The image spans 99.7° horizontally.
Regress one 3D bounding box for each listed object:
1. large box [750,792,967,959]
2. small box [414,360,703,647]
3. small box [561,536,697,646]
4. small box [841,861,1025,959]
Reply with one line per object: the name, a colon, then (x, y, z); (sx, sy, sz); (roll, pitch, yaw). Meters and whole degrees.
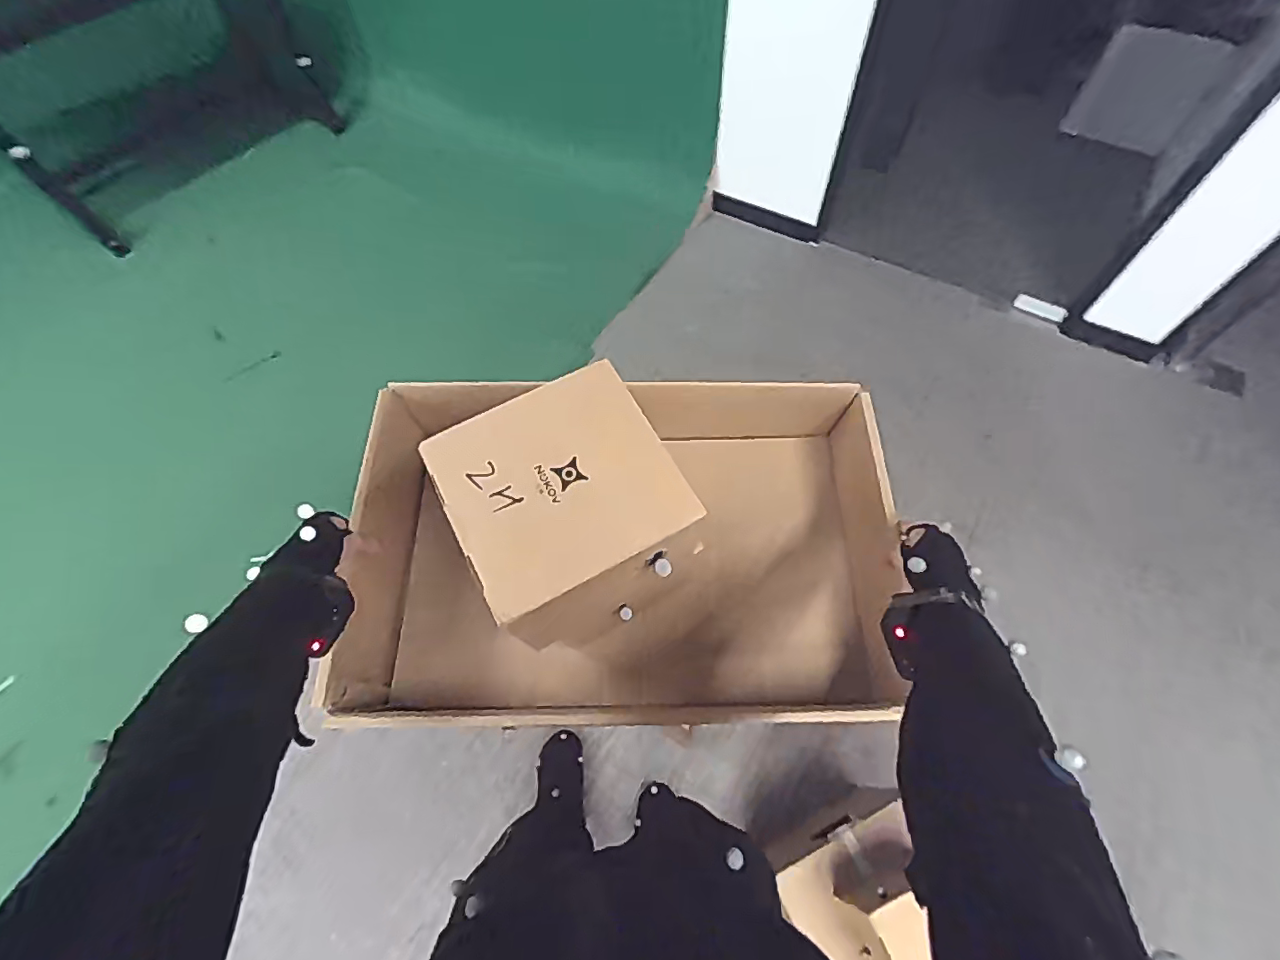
large box: (0.456, 0.856, 0.994); (0.320, 0.320, 0.408); (-24, 63, -10)
small box: (-0.067, 0.030, 0.489); (0.179, 0.176, 0.168); (-27, 69, -12)
small box: (-0.053, 0.080, 0.647); (0.179, 0.176, 0.168); (-29, 71, -13)
small box: (0.435, 0.699, 0.805); (0.179, 0.176, 0.168); (-19, 61, -9)
